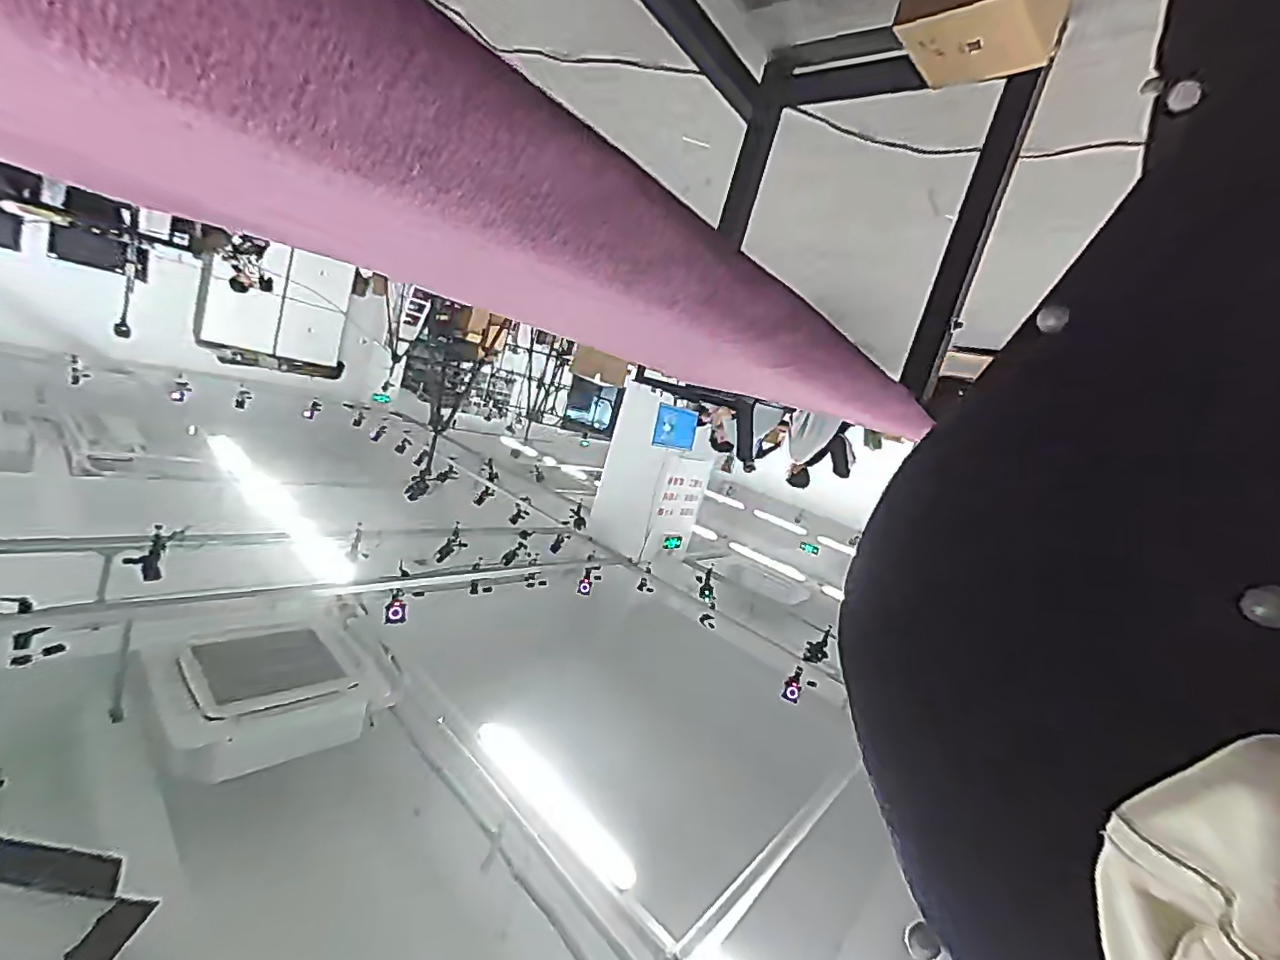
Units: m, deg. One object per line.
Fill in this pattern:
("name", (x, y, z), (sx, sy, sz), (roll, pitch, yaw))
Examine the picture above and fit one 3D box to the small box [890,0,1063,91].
("small box", (0.507, -0.722, 0.793), (0.168, 0.176, 0.179), (8, -168, -44))
